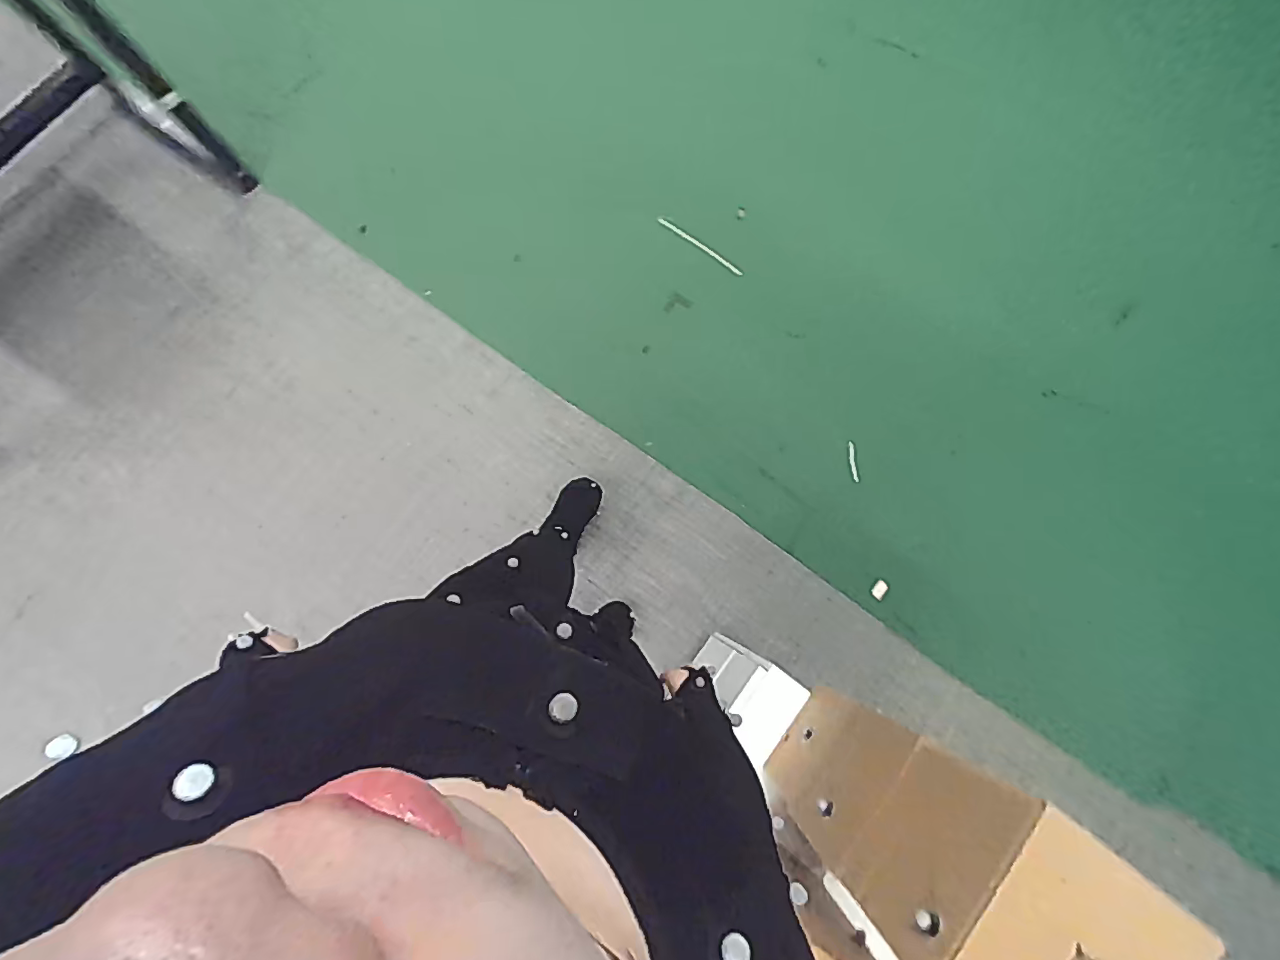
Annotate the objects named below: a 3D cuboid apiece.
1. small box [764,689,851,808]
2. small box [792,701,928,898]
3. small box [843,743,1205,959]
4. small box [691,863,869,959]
[{"bbox_3d":[0.312,0.439,0.809,0.179,0.176,0.168,38,83,4],"label":"small box"},{"bbox_3d":[0.306,0.403,0.650,0.168,0.176,0.179,37,81,3],"label":"small box"},{"bbox_3d":[0.319,0.378,0.489,0.168,0.176,0.179,39,82,3],"label":"small box"},{"bbox_3d":[0.172,0.591,0.609,0.168,0.176,0.179,40,80,4],"label":"small box"}]
